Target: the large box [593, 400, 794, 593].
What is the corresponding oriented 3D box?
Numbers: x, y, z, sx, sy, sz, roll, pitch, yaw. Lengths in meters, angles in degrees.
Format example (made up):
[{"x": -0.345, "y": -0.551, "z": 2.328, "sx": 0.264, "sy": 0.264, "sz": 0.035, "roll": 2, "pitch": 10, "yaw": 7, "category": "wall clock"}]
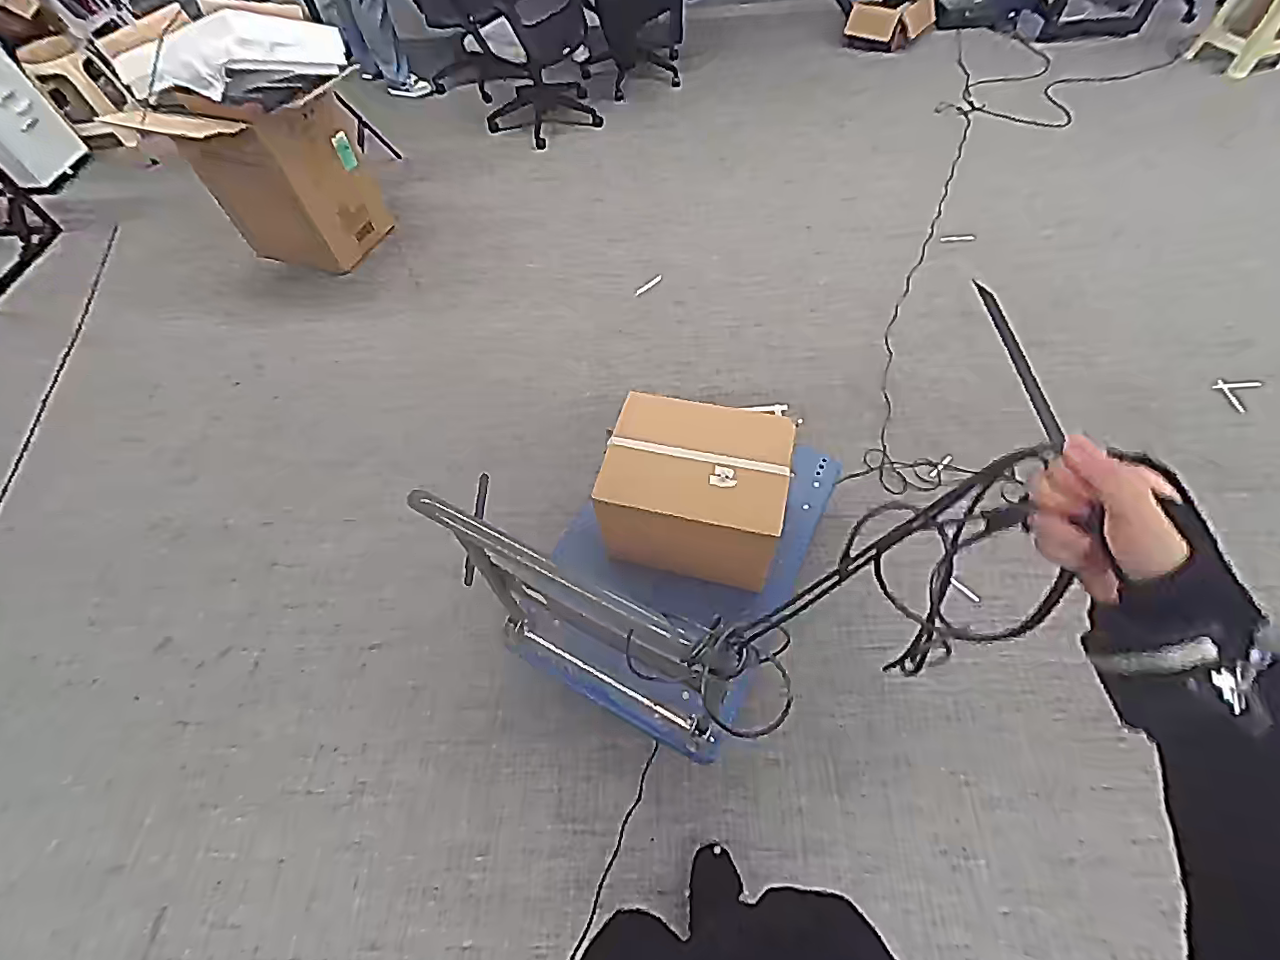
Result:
[{"x": 0.130, "y": 0.043, "z": 1.315, "sx": 0.408, "sy": 0.320, "sz": 0.320, "roll": 11, "pitch": 59, "yaw": 10, "category": "large box"}]
